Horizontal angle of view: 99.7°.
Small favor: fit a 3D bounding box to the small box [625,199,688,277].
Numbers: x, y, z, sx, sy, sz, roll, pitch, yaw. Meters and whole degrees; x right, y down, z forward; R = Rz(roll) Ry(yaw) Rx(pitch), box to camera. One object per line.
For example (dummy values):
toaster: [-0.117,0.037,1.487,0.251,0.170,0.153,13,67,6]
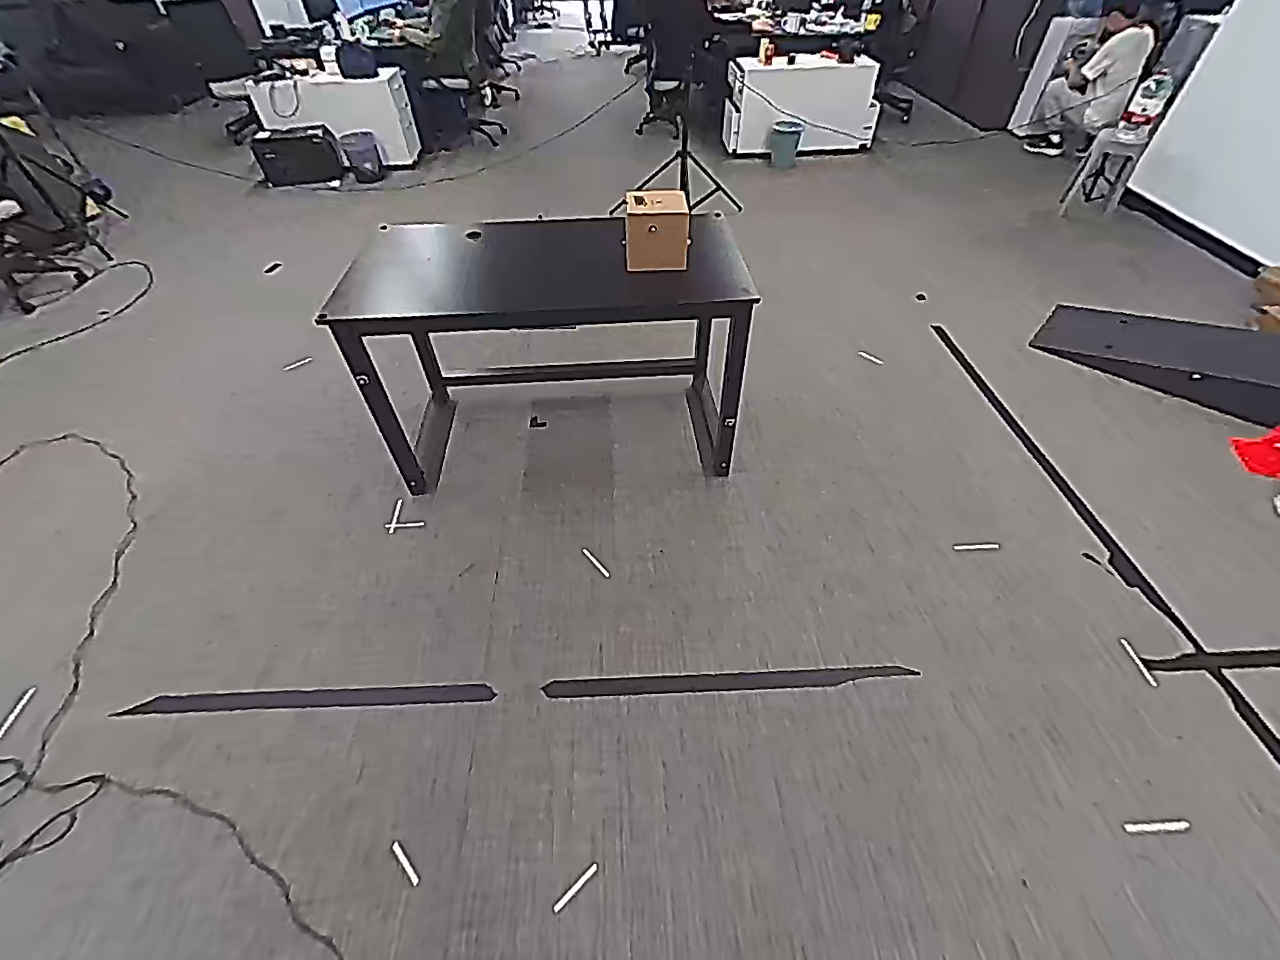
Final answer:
small box: [0.048,-0.723,1.620,0.179,0.176,0.168,-2,47,-1]
